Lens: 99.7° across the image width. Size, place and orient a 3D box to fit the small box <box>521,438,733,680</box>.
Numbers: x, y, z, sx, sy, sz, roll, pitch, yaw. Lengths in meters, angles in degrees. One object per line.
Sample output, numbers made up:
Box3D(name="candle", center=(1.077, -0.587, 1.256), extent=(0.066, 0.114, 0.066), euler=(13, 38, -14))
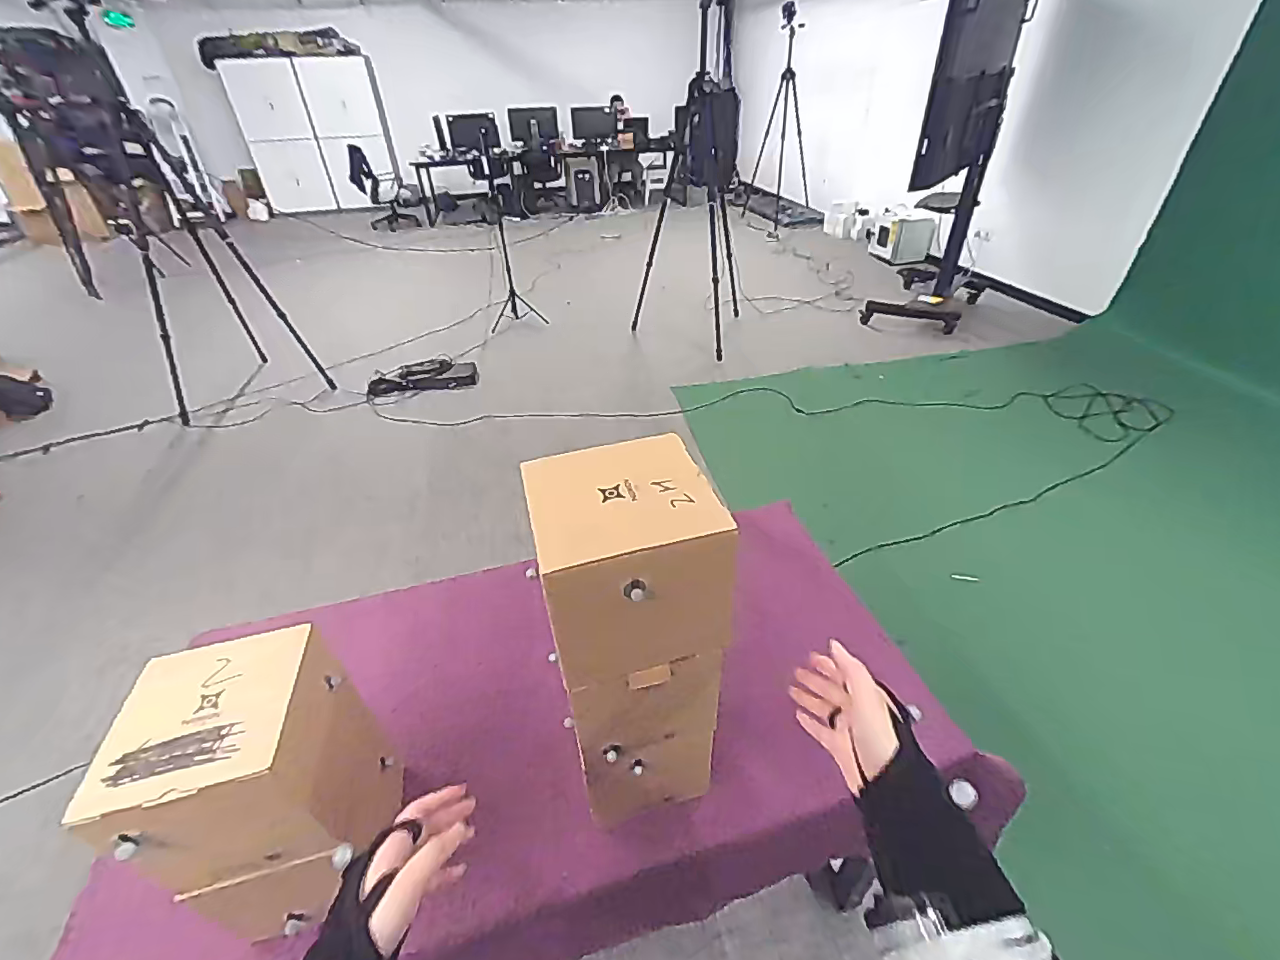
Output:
Box3D(name="small box", center=(-0.016, 0.081, 0.564), extent=(0.179, 0.176, 0.168), euler=(-11, 39, -11))

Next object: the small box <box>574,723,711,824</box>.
Box3D(name="small box", center=(-0.008, 0.342, 0.765), extent=(0.168, 0.176, 0.179), euler=(-12, 37, -10))

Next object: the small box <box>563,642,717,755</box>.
Box3D(name="small box", center=(-0.013, 0.210, 0.667), extent=(0.168, 0.176, 0.179), euler=(-12, 37, -12))

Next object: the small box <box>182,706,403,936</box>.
Box3D(name="small box", center=(-0.411, 0.425, 0.682), extent=(0.168, 0.176, 0.179), euler=(-11, 39, -10))
